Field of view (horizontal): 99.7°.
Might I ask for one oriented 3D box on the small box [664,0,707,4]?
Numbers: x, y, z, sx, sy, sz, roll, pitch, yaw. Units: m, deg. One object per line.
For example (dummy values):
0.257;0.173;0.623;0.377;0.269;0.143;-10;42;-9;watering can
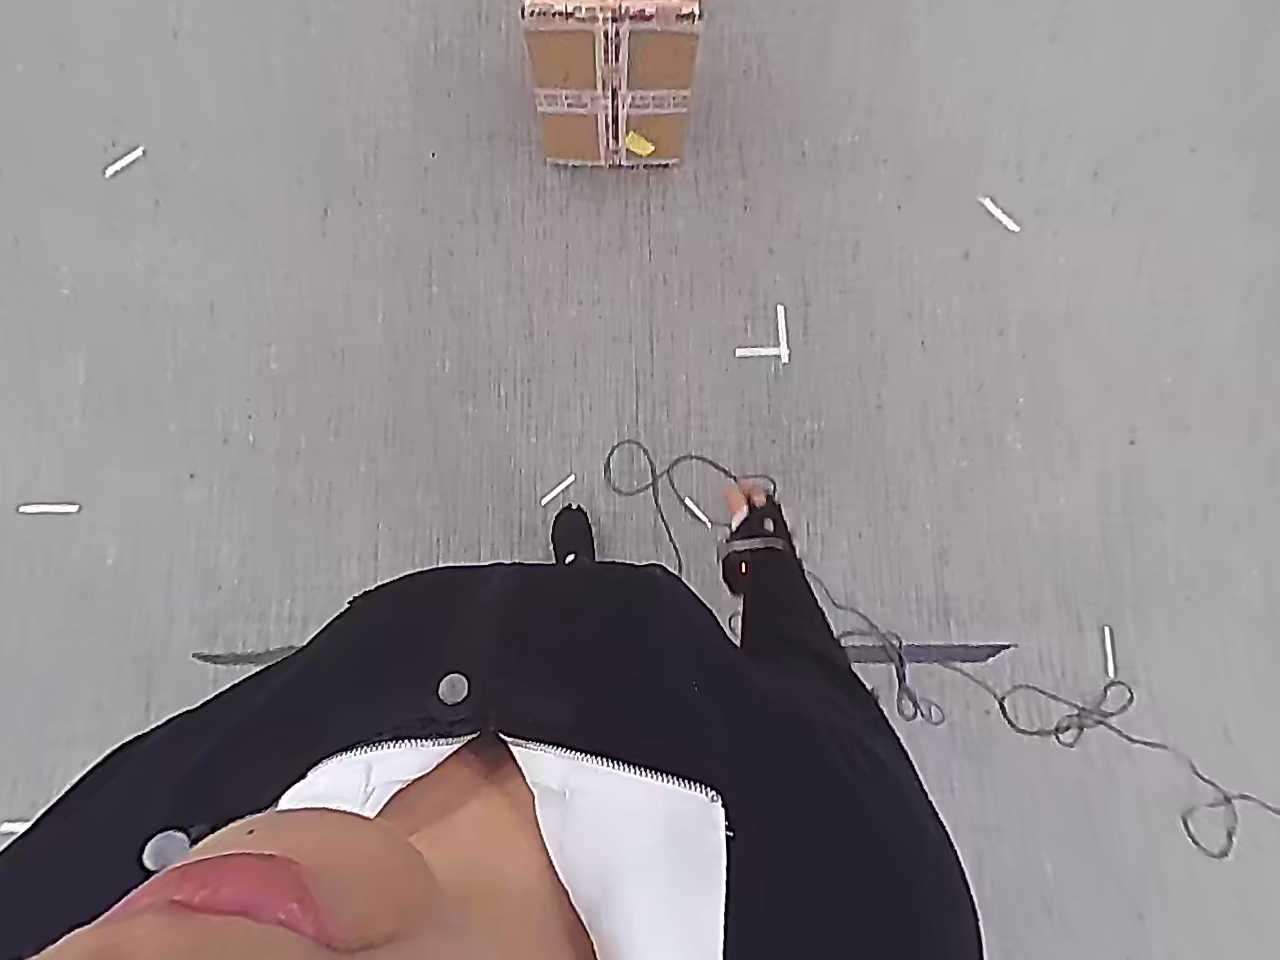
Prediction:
0.075;-1.122;1.089;0.168;0.176;0.179;0;85;-4;small box
